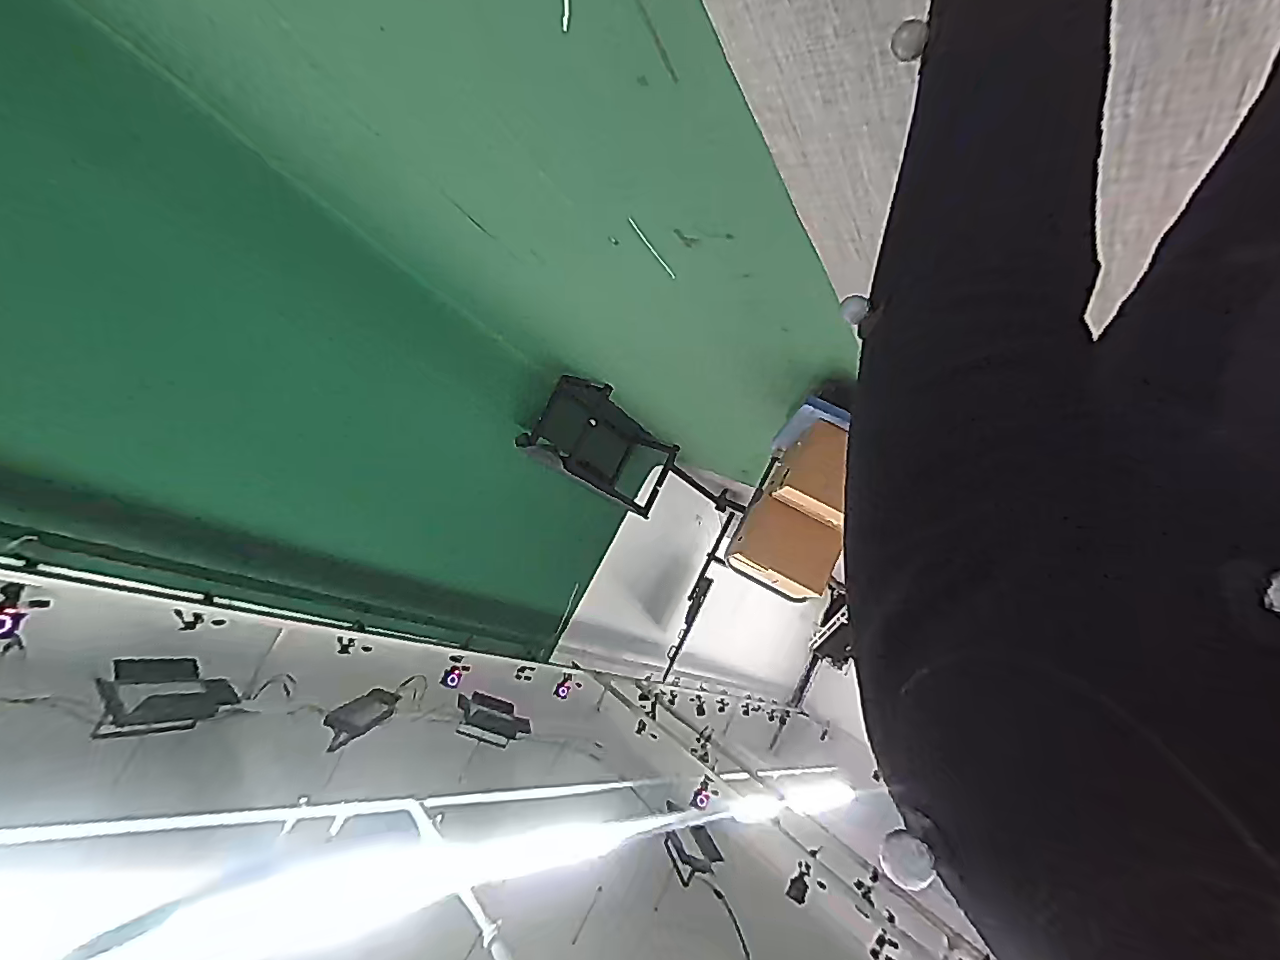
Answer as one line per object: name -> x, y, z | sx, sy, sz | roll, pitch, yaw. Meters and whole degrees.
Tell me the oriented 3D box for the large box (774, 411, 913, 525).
large box -> 0.830, -0.044, 2.254 | 0.408, 0.320, 0.320 | 26, 176, 6
